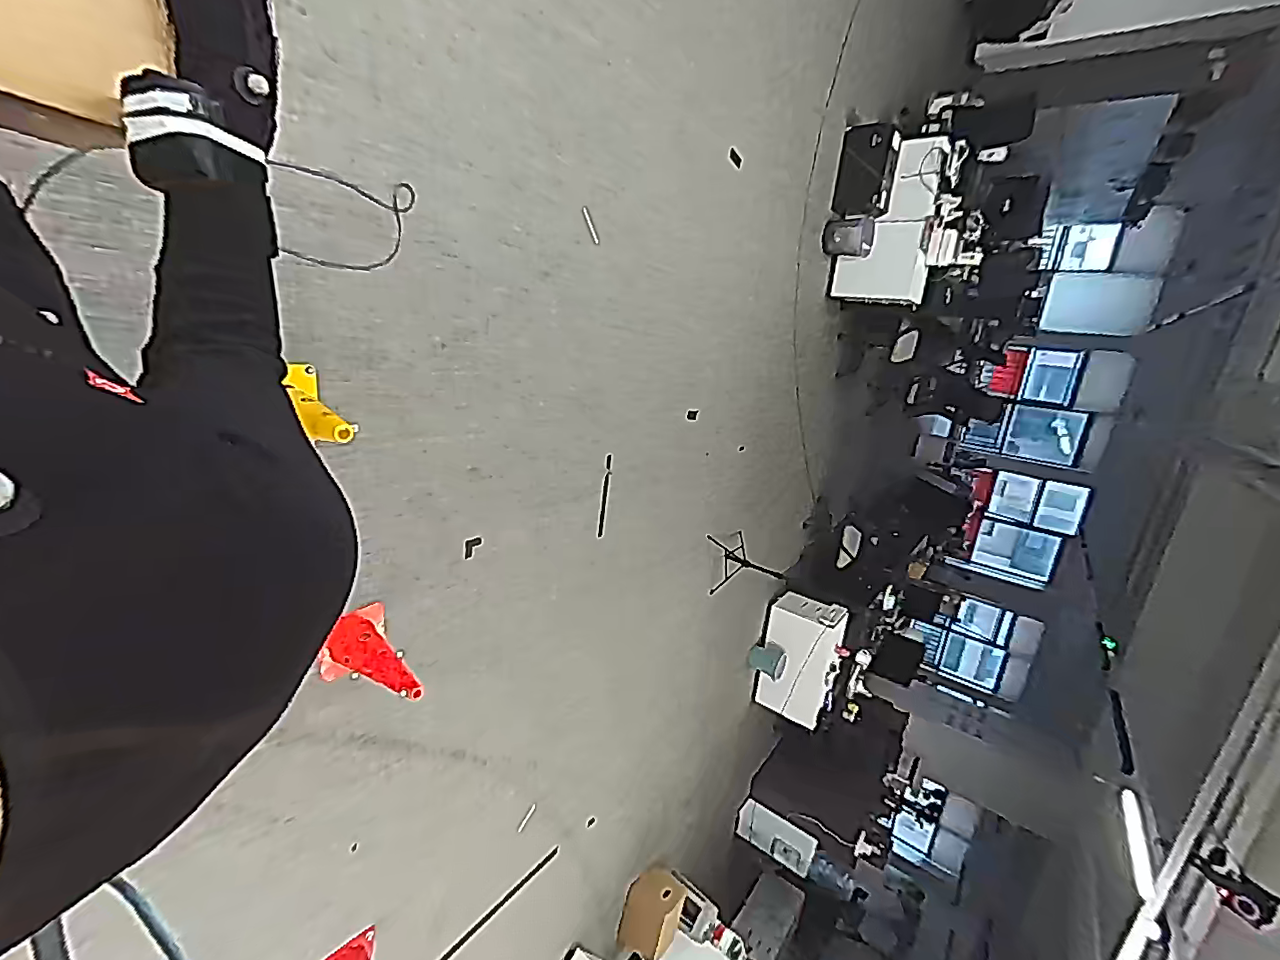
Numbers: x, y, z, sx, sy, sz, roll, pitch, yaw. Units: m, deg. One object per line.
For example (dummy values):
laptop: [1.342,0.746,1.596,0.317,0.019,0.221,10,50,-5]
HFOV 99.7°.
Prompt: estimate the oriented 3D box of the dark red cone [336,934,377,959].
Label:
dark red cone: [-0.913,1.790,1.829,0.201,0.394,0.202,-4,107,-53]

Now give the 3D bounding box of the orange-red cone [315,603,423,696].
orange-red cone: [-0.747,0.529,1.558,0.198,0.360,0.199,-18,117,-52]

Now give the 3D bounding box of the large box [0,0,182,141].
large box: [-0.549,-0.429,0.287,0.408,0.320,0.320,-8,116,-54]
